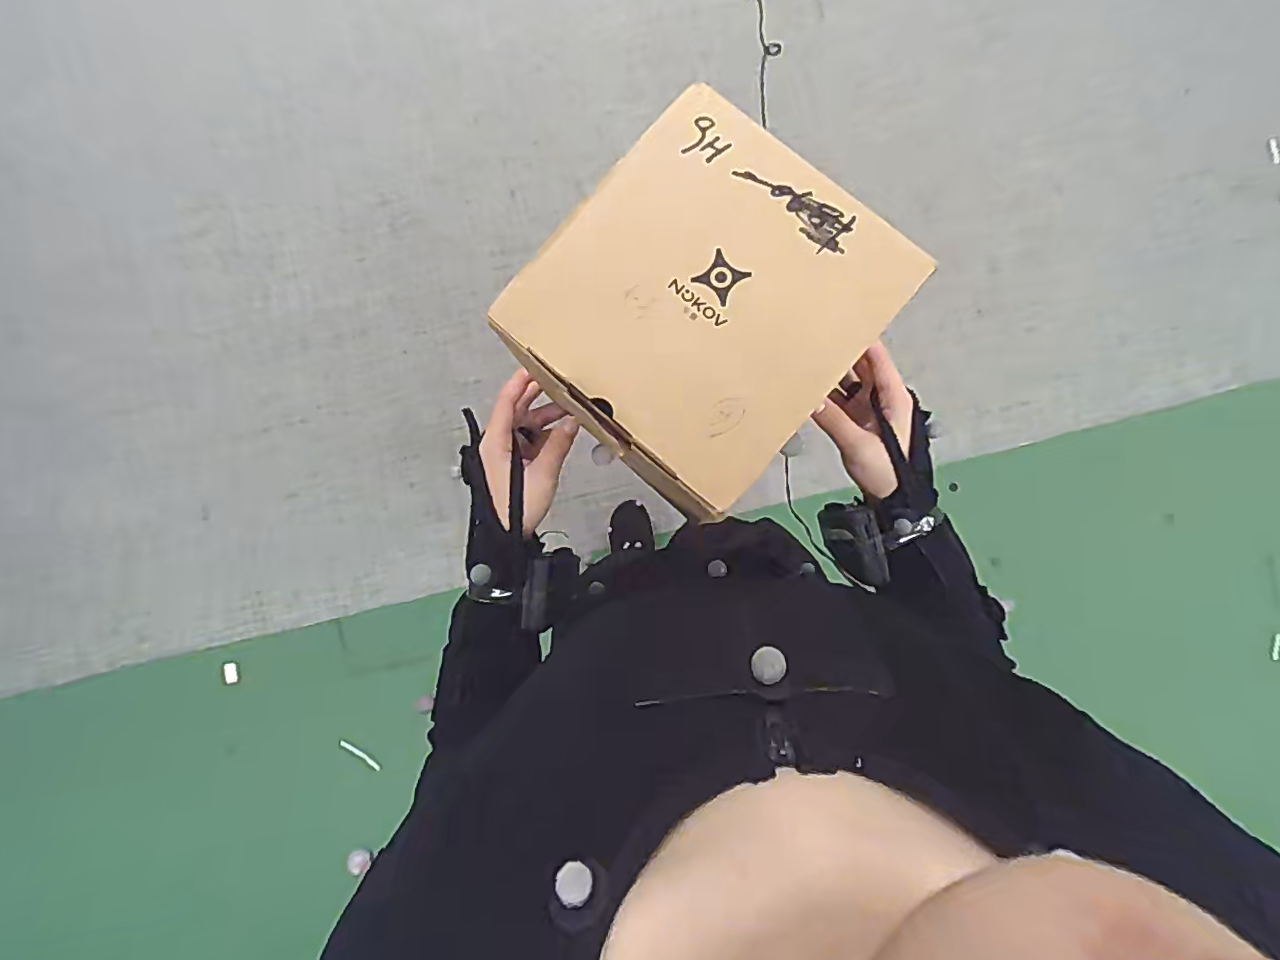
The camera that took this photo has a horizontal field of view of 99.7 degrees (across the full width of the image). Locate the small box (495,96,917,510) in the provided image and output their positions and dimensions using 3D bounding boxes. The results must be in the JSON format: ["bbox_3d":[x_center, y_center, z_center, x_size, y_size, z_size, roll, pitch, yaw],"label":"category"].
[{"bbox_3d":[0.039,-0.093,0.373,0.168,0.176,0.179,41,87,6],"label":"small box"}]
